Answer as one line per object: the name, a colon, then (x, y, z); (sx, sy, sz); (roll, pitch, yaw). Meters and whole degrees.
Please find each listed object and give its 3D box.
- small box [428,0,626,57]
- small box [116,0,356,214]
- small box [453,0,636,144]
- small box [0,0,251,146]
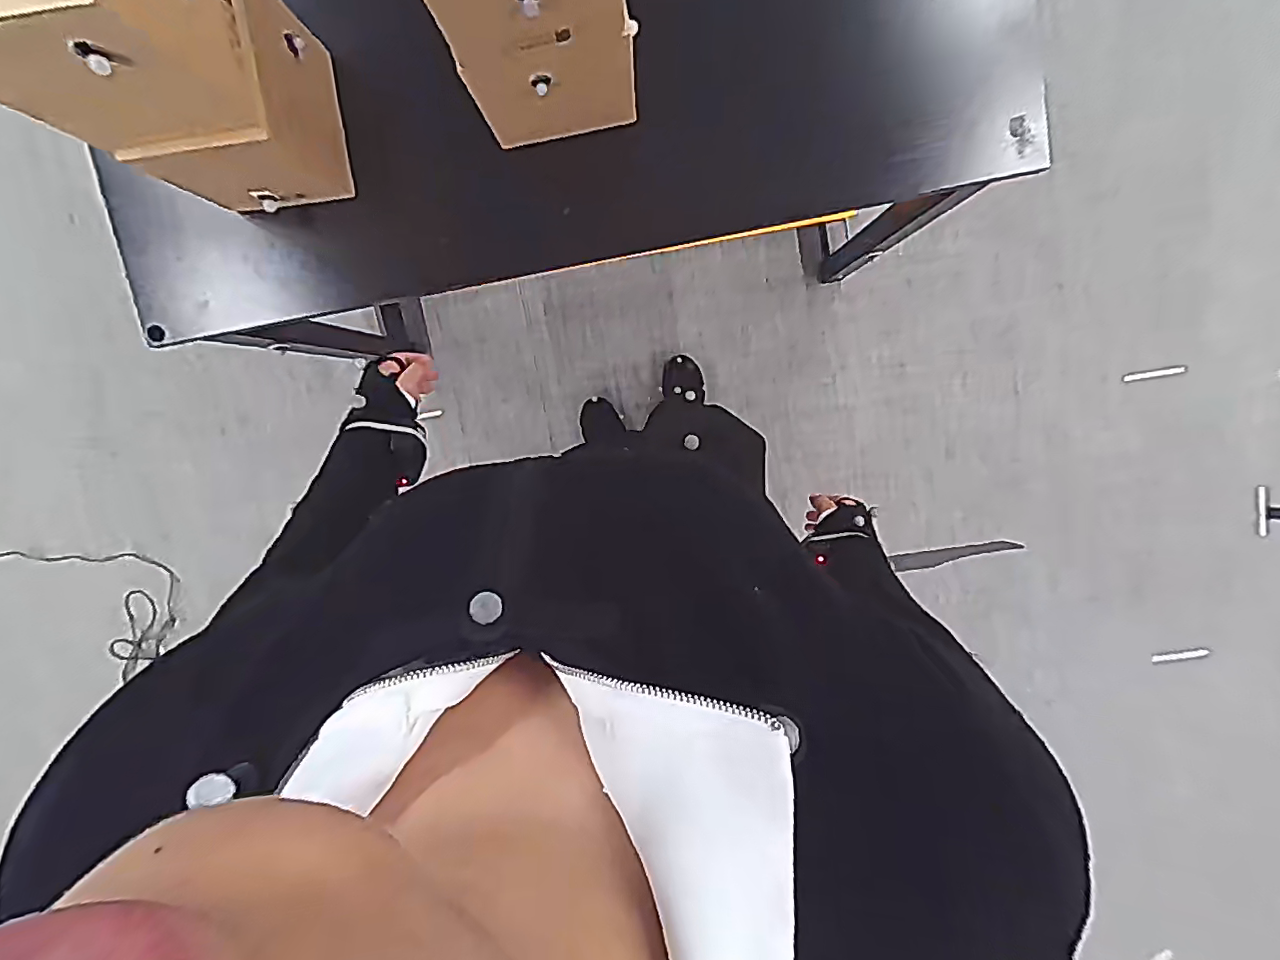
small box: (-0.108, -0.484, 0.433); (0.168, 0.176, 0.179); (-11, 99, 3)
small box: (-0.458, -0.431, 0.616); (0.168, 0.176, 0.179); (-7, 99, 3)
small box: (-0.104, -0.504, 0.596); (0.179, 0.176, 0.168); (-10, 98, 2)
small box: (-0.468, -0.413, 0.452); (0.179, 0.176, 0.168); (-7, 98, 3)
